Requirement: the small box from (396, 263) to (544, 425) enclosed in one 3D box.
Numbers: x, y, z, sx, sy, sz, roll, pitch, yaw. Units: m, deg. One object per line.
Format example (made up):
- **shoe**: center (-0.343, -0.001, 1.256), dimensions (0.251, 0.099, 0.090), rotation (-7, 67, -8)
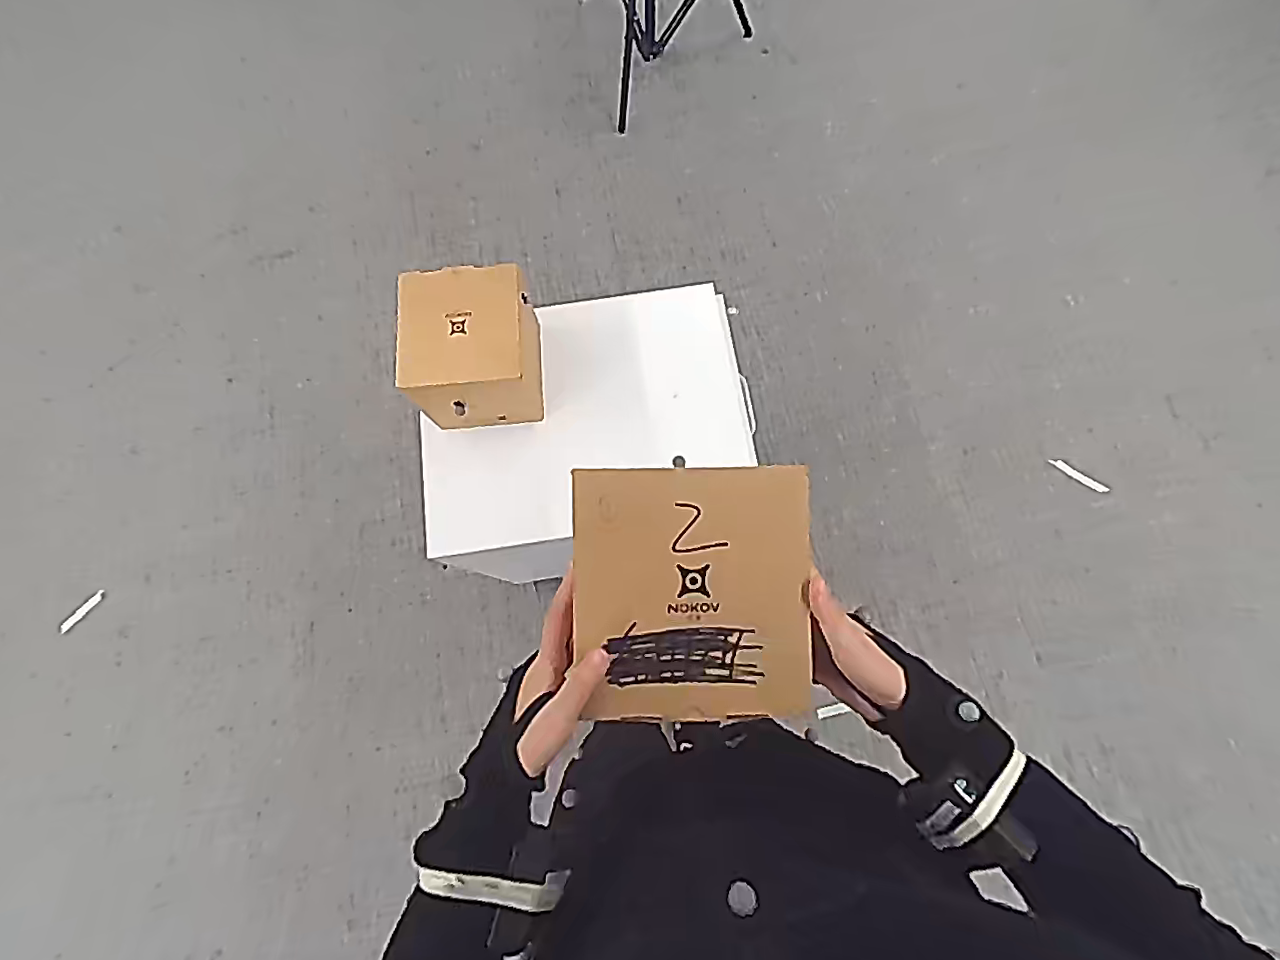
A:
- **small box**: center (-0.240, -0.188, 0.797), dimensions (0.168, 0.176, 0.179), rotation (-5, 75, -1)
